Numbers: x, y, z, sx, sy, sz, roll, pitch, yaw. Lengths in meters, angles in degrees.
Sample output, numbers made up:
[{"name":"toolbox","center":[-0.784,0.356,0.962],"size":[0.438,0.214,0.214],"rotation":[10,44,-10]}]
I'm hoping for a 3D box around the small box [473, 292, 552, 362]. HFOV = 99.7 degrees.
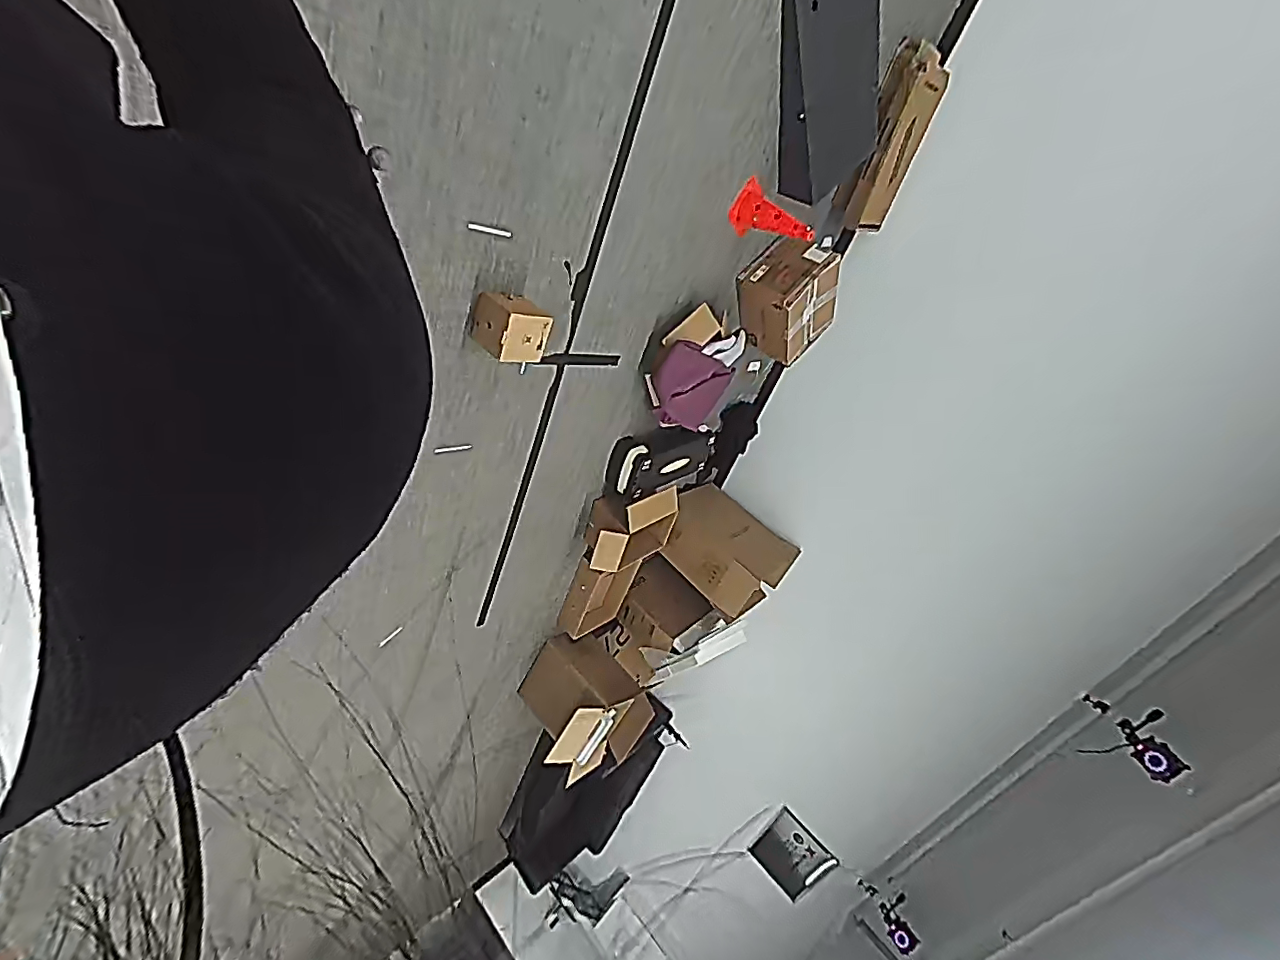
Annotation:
[{"name":"small box","center":[-0.426,-0.506,1.788],"size":[0.179,0.176,0.168],"rotation":[-12,134,-50]}]
